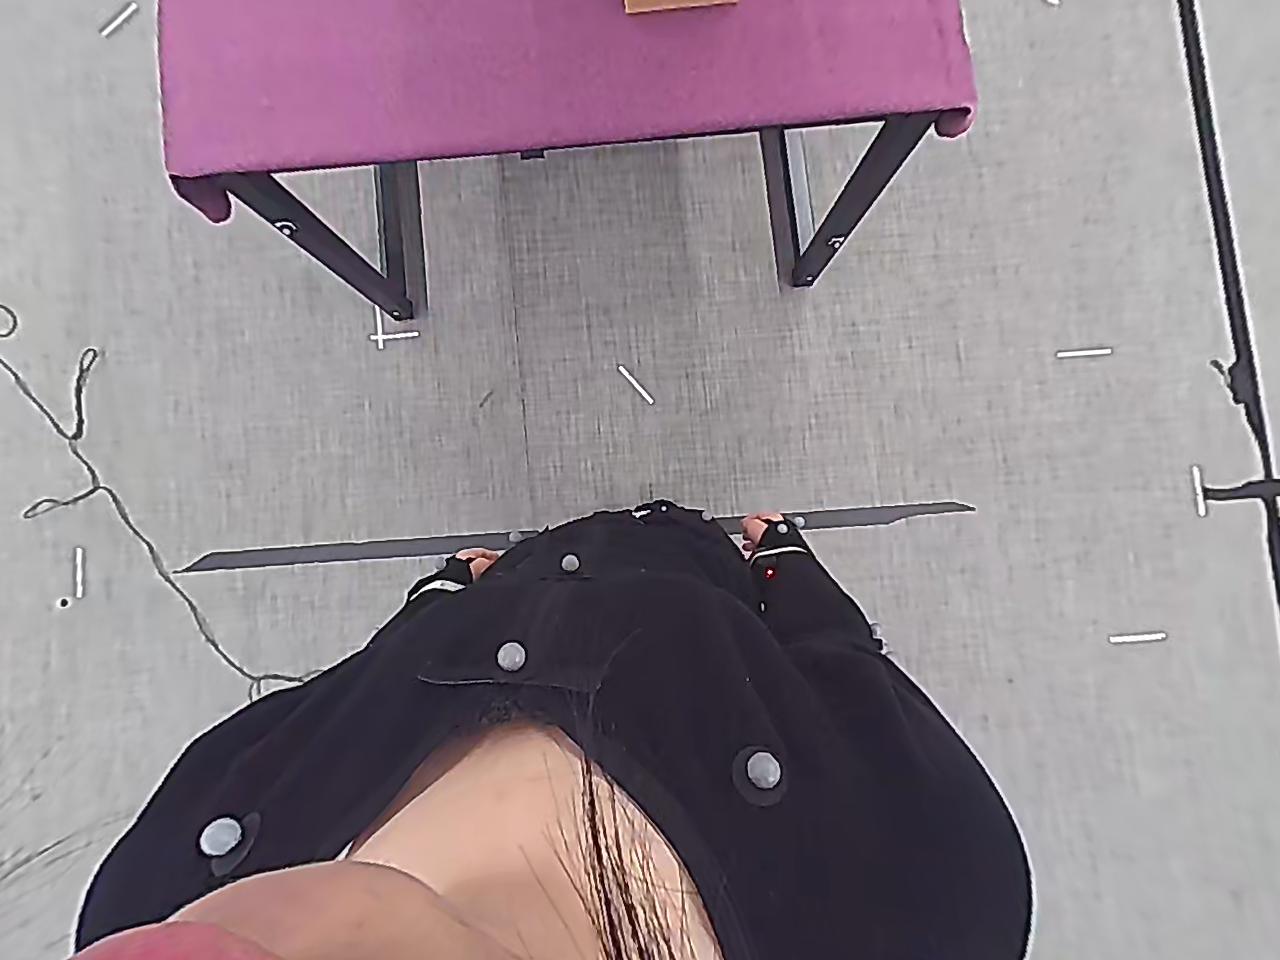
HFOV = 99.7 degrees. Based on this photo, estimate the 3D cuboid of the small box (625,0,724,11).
[{"bbox_3d":[0.058,-0.800,0.743,0.179,0.176,0.168,-6,86,0],"label":"small box"}]
